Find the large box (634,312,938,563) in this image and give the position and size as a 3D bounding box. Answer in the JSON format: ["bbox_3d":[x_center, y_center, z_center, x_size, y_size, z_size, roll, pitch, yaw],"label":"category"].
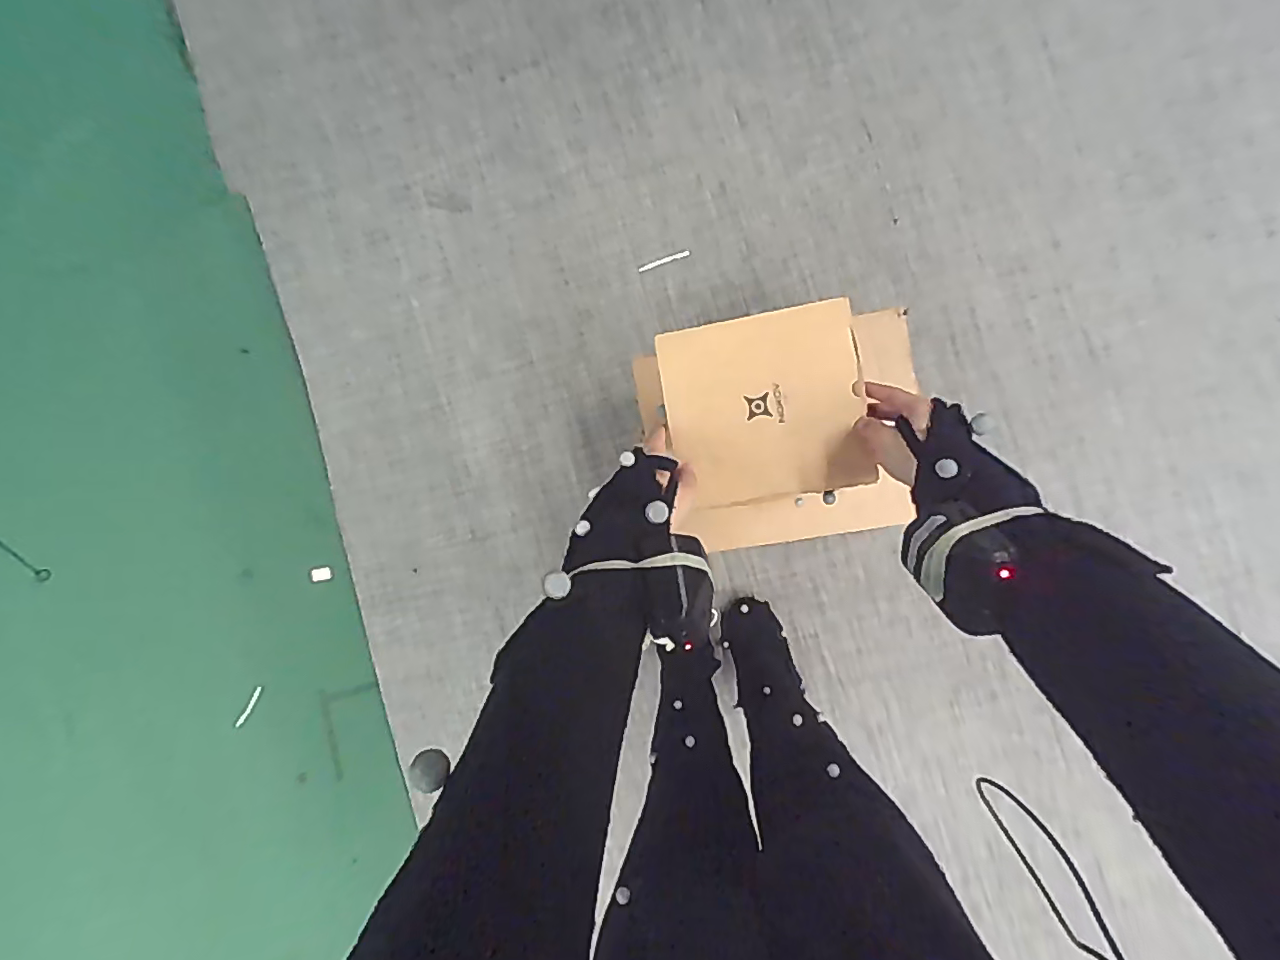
[{"bbox_3d":[0.227,-0.058,0.953,0.408,0.320,0.320,-10,89,7],"label":"large box"}]

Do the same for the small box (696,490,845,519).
[{"bbox_3d":[0.154,-0.045,0.719,0.179,0.176,0.168,-9,87,9],"label":"small box"}]

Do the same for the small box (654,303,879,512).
[{"bbox_3d":[0.121,-0.060,0.559,0.179,0.176,0.168,-10,87,8],"label":"small box"}]
